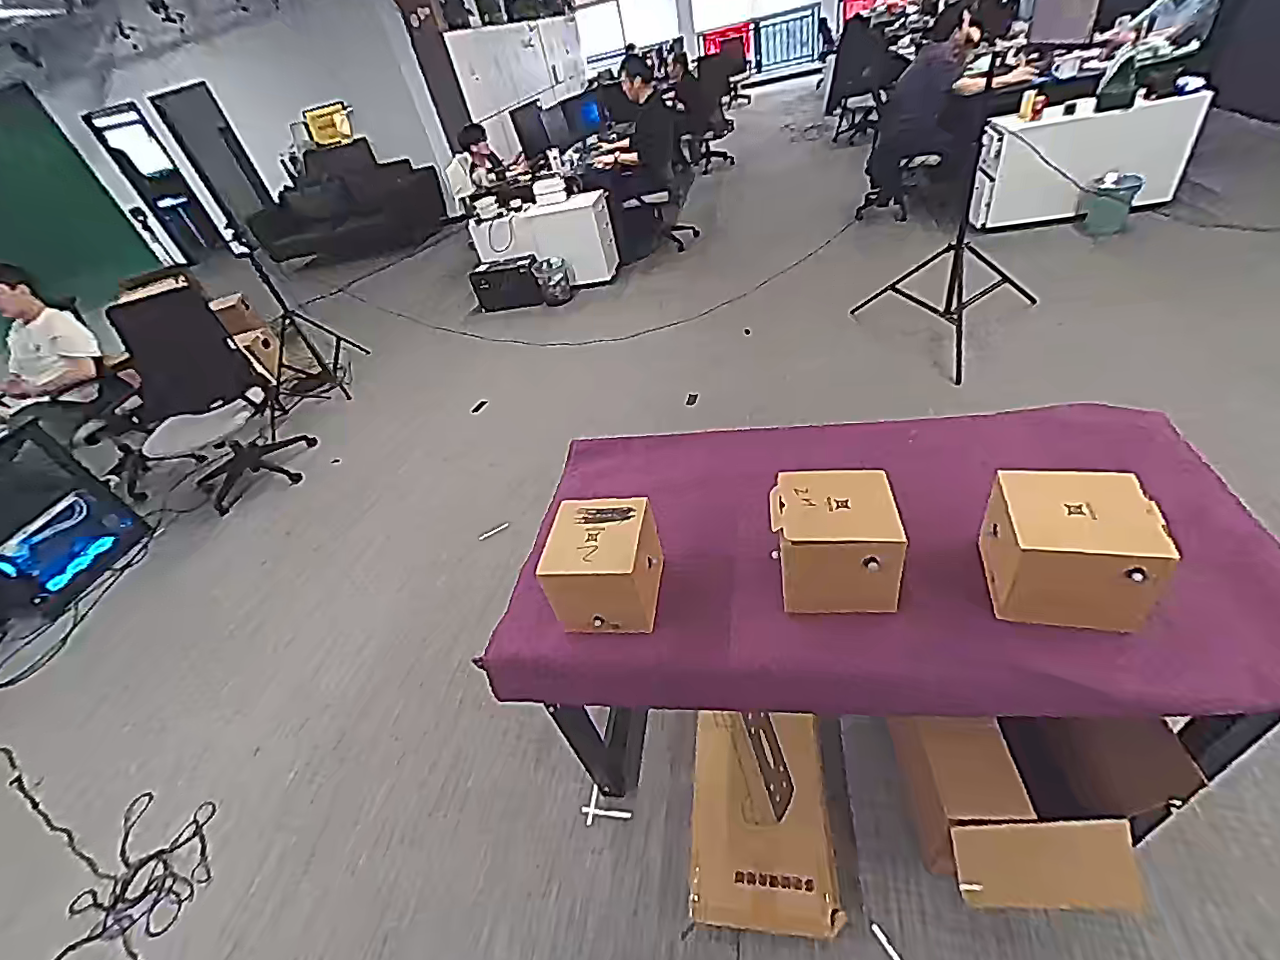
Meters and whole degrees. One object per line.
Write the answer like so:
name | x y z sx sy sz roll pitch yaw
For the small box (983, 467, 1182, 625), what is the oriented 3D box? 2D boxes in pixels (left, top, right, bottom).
small box | 0.631 0.098 0.805 0.179 0.176 0.168 2 42 19

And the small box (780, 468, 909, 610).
small box | 0.326 0.100 0.897 0.179 0.176 0.168 -4 38 13
